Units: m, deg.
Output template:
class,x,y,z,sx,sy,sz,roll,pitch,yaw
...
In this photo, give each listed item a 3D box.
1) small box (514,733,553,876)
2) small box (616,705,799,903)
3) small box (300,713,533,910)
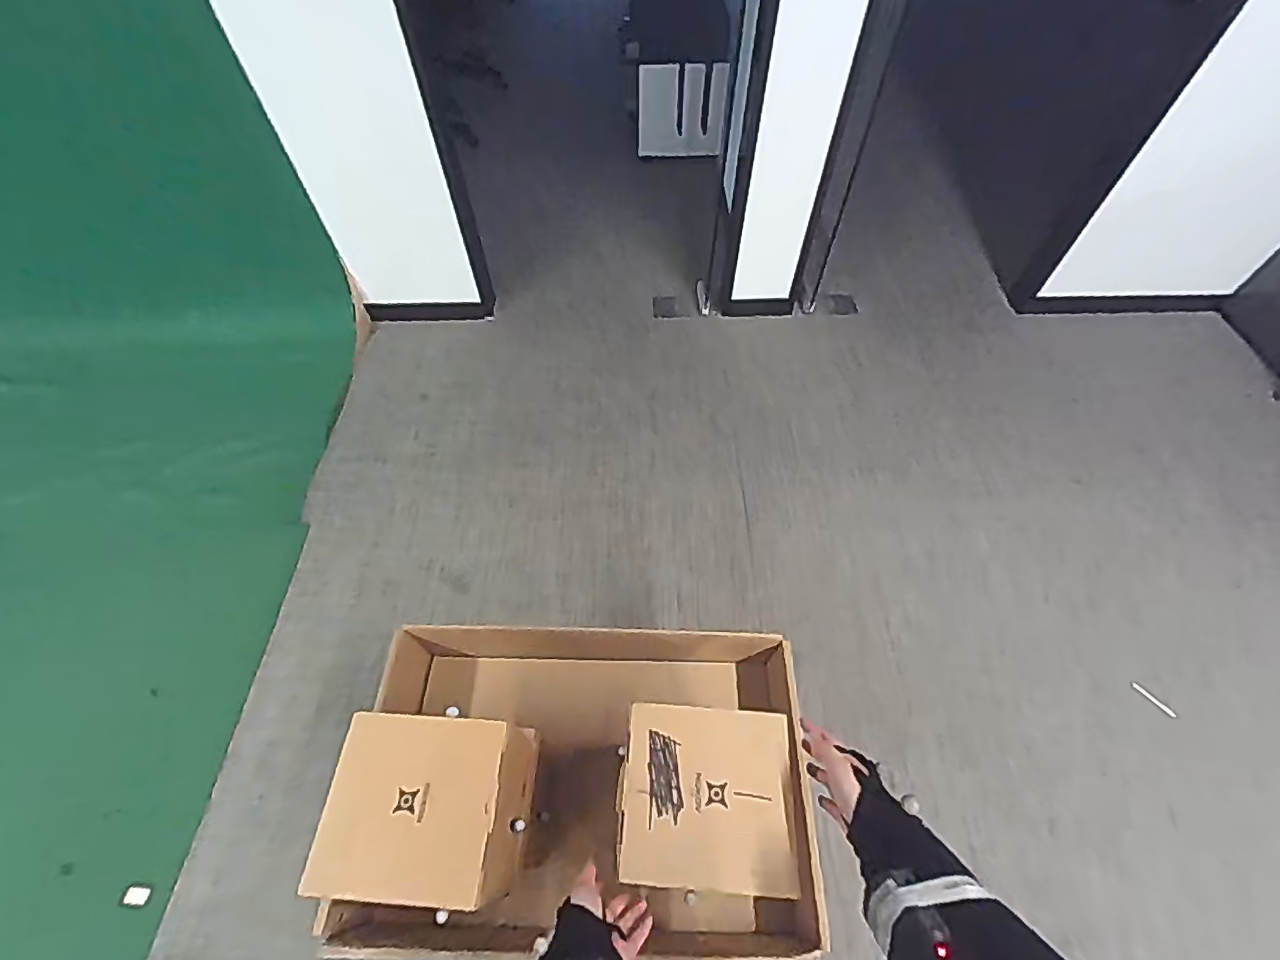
class,x,y,z,sx,sy,sz,roll,pitch,yaw
small box,-0.230,0.455,0.762,0.179,0.176,0.168,3,57,1
small box,0.069,0.368,0.618,0.179,0.176,0.168,4,56,2
small box,-0.233,0.377,0.620,0.179,0.176,0.168,3,56,1
